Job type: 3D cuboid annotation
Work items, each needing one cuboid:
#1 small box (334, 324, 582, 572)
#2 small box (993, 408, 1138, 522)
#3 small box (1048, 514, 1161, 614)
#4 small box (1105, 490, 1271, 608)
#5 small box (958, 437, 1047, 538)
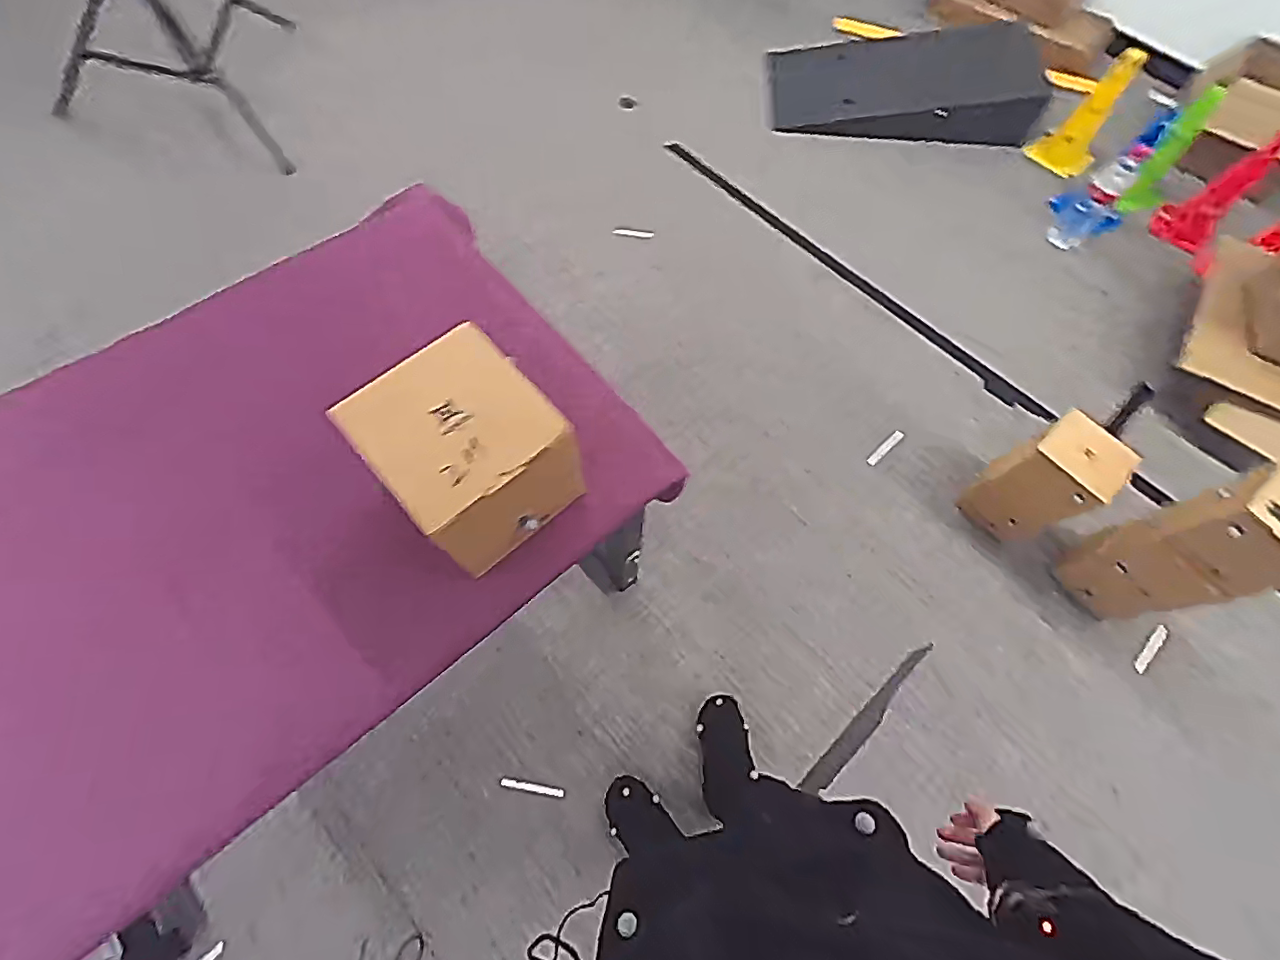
[{"bbox_3d":[-0.182,-0.025,0.591,0.168,0.176,0.179,-40,74,-16],"label":"small box"},{"bbox_3d":[0.986,-0.030,1.270,0.168,0.176,0.179,-40,76,-17],"label":"small box"},{"bbox_3d":[1.189,0.218,1.351,0.168,0.176,0.179,-35,74,-16],"label":"small box"},{"bbox_3d":[1.194,0.160,1.196,0.179,0.176,0.168,-36,73,-17],"label":"small box"},{"bbox_3d":[0.982,0.026,1.423,0.179,0.176,0.168,-41,76,-19],"label":"small box"}]
